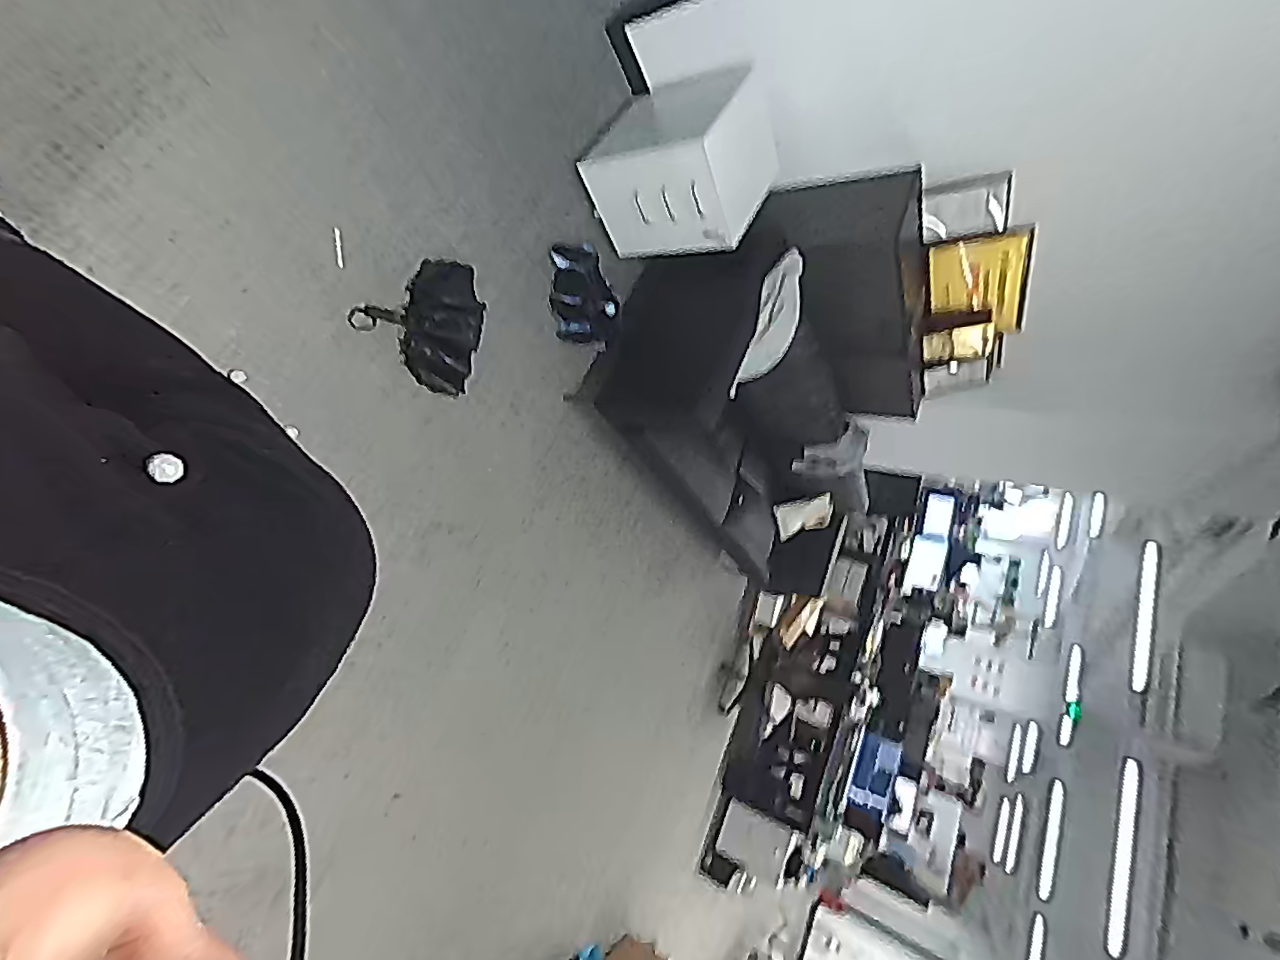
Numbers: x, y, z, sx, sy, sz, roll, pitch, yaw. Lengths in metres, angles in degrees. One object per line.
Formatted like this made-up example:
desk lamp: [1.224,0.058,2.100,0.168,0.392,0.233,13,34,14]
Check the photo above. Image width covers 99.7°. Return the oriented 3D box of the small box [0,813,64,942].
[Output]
small box: [-1.275,0.752,1.026,0.179,0.176,0.168,51,56,-46]
